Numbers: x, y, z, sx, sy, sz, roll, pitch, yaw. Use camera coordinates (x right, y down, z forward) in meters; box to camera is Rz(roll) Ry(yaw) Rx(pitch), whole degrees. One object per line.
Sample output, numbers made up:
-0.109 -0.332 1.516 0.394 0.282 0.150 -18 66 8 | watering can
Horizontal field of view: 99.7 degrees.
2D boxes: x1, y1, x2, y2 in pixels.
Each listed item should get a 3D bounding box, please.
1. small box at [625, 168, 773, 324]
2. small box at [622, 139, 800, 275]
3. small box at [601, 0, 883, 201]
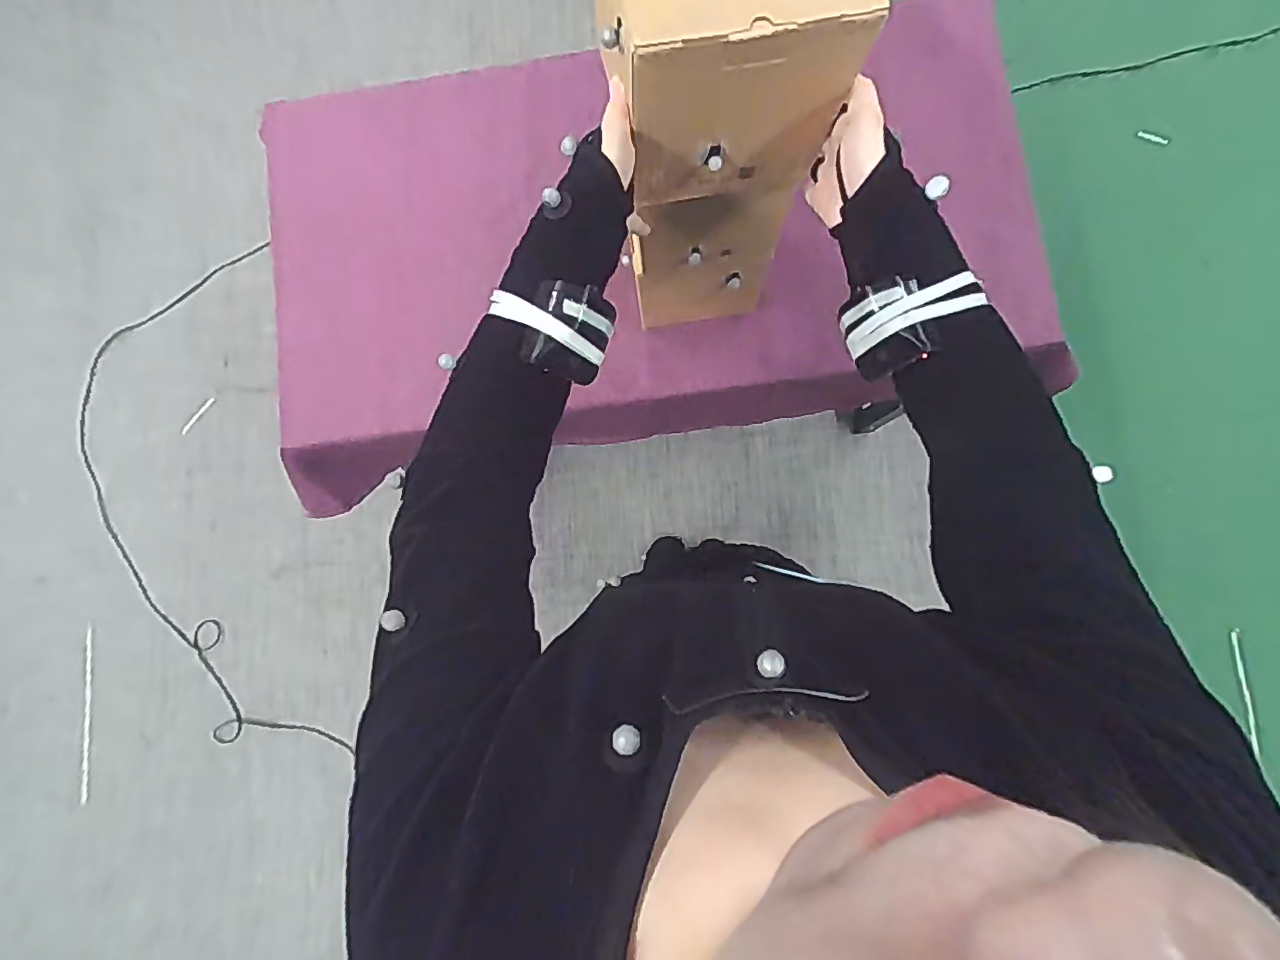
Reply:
0.077 -0.339 0.768 0.179 0.176 0.168 -7 82 3 | small box
0.066 -0.360 0.606 0.168 0.176 0.179 -8 84 3 | small box
0.060 -0.362 0.431 0.168 0.176 0.179 -11 86 -2 | small box
